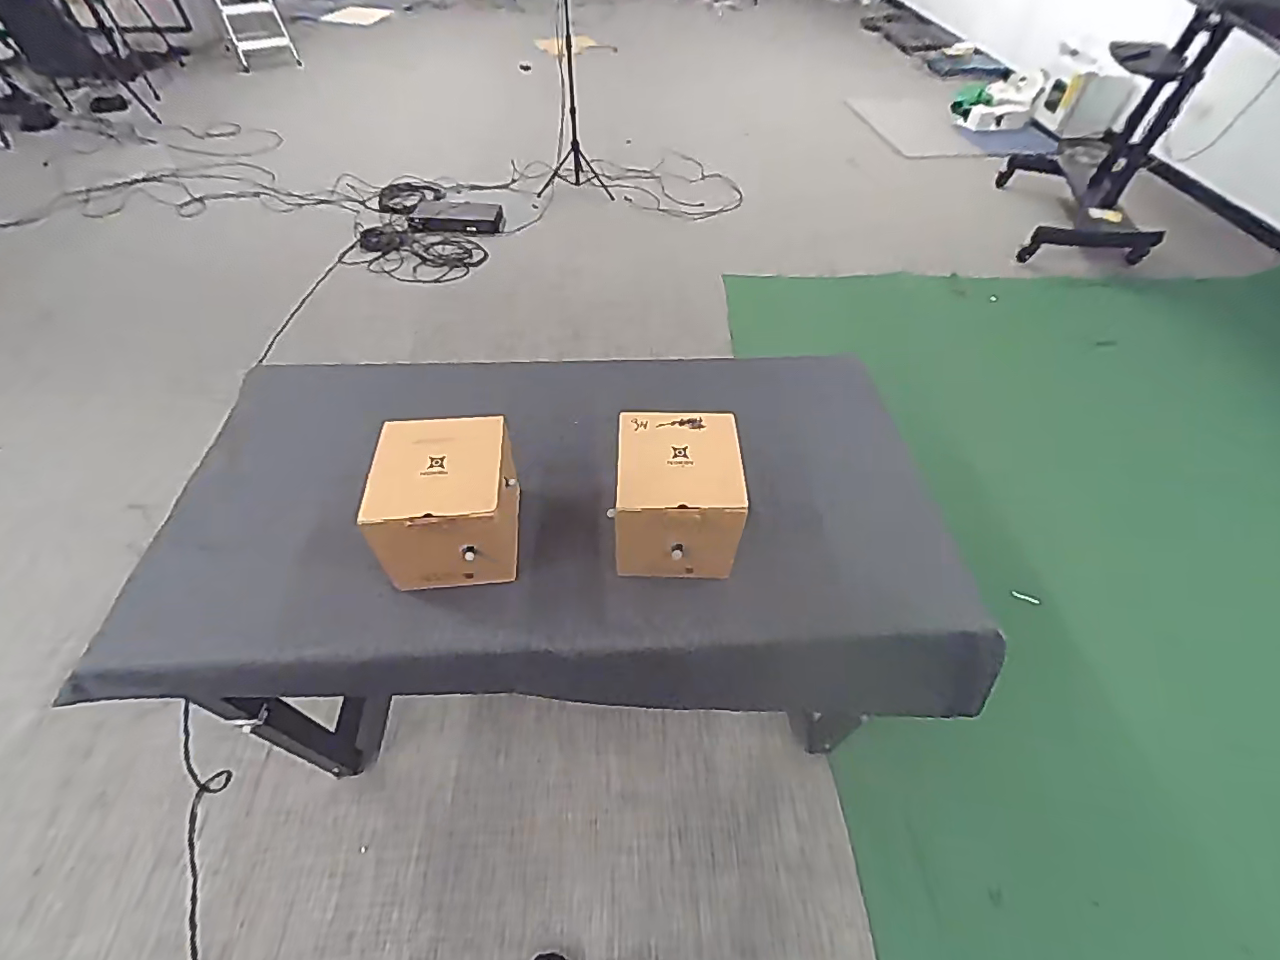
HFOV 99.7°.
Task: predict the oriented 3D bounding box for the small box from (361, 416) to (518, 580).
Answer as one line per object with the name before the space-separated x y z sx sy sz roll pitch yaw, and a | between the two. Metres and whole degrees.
small box | -0.269 0.031 0.772 0.168 0.176 0.179 -3 49 -7

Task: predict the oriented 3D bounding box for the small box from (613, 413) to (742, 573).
small box | 0.048 0.022 0.789 0.168 0.176 0.179 1 51 -1
